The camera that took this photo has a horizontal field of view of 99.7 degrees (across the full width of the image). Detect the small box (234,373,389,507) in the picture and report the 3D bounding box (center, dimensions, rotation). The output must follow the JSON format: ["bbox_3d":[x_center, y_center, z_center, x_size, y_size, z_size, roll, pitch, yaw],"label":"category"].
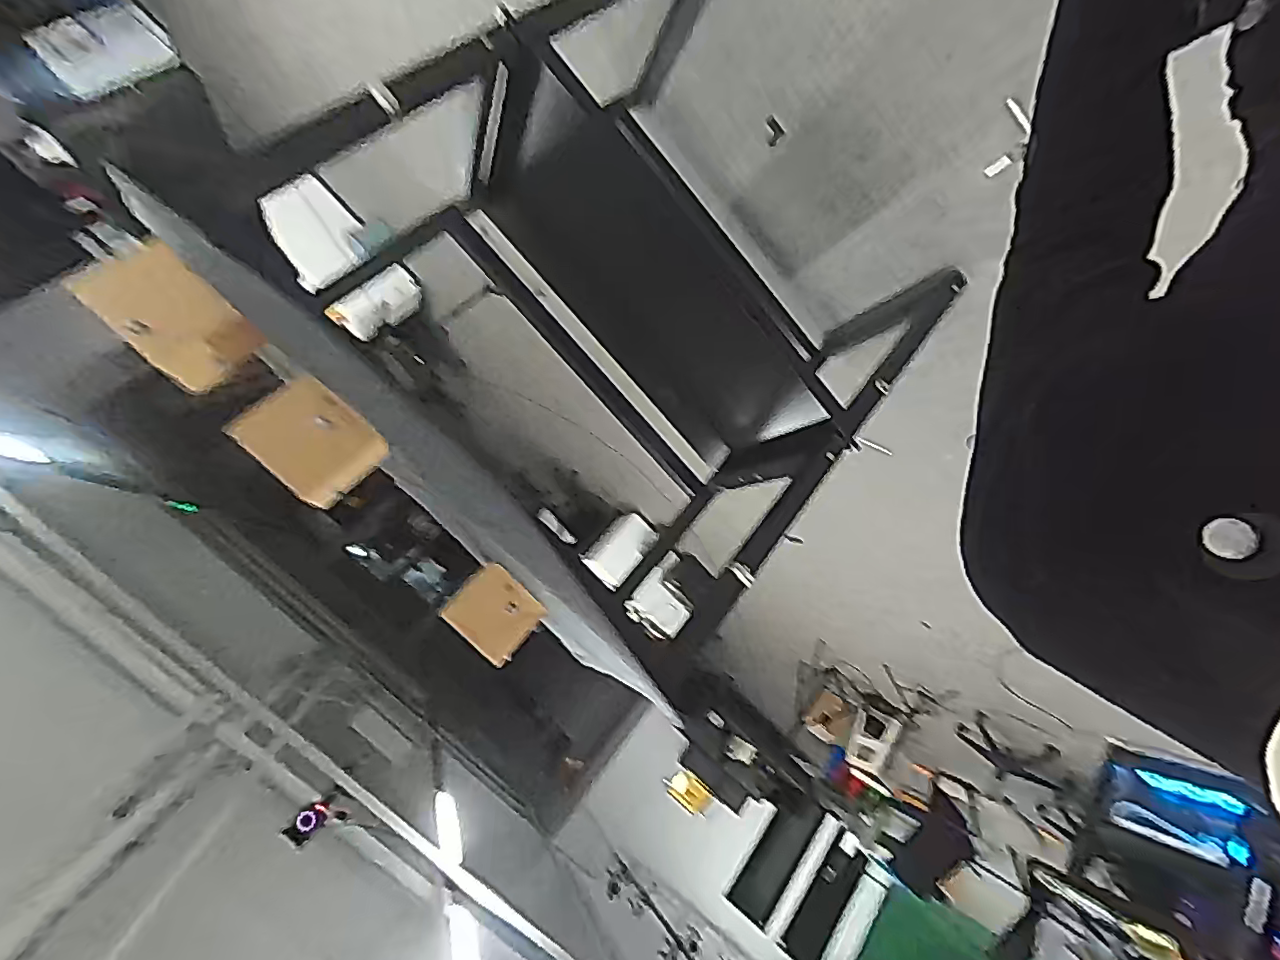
[{"bbox_3d":[-0.595,-0.069,1.010,0.168,0.176,0.179,46,159,-10],"label":"small box"}]

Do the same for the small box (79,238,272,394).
[{"bbox_3d":[-0.797,-0.284,0.957,0.168,0.176,0.179,47,159,-12],"label":"small box"}]

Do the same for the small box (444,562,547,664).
[{"bbox_3d":[-0.348,0.312,1.303,0.168,0.176,0.179,46,157,-9],"label":"small box"}]
